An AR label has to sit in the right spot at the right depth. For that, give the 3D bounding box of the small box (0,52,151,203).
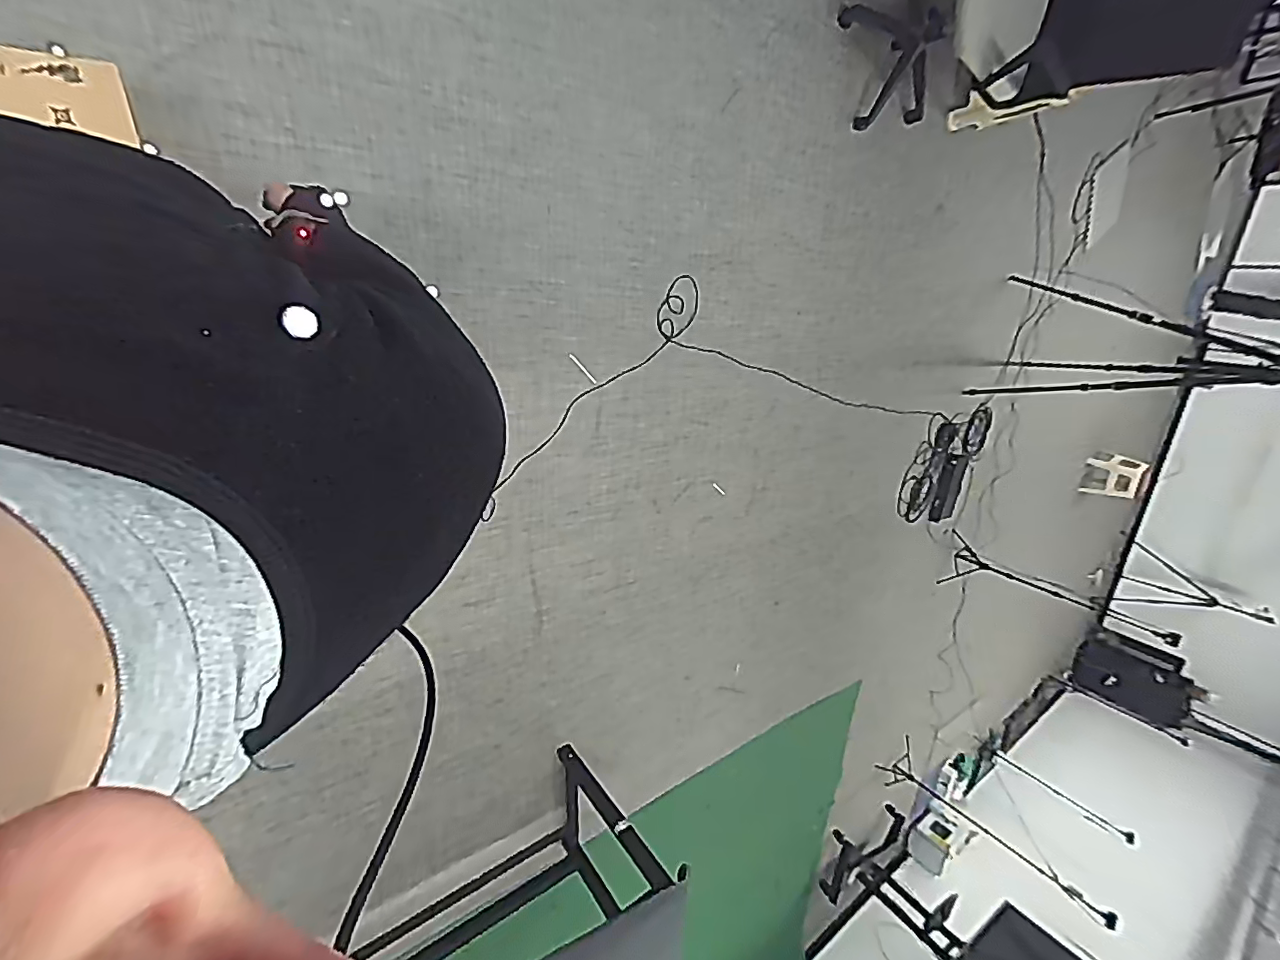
[{"bbox_3d":[-0.906,-0.540,0.850,0.168,0.176,0.179,-16,117,-33],"label":"small box"}]
